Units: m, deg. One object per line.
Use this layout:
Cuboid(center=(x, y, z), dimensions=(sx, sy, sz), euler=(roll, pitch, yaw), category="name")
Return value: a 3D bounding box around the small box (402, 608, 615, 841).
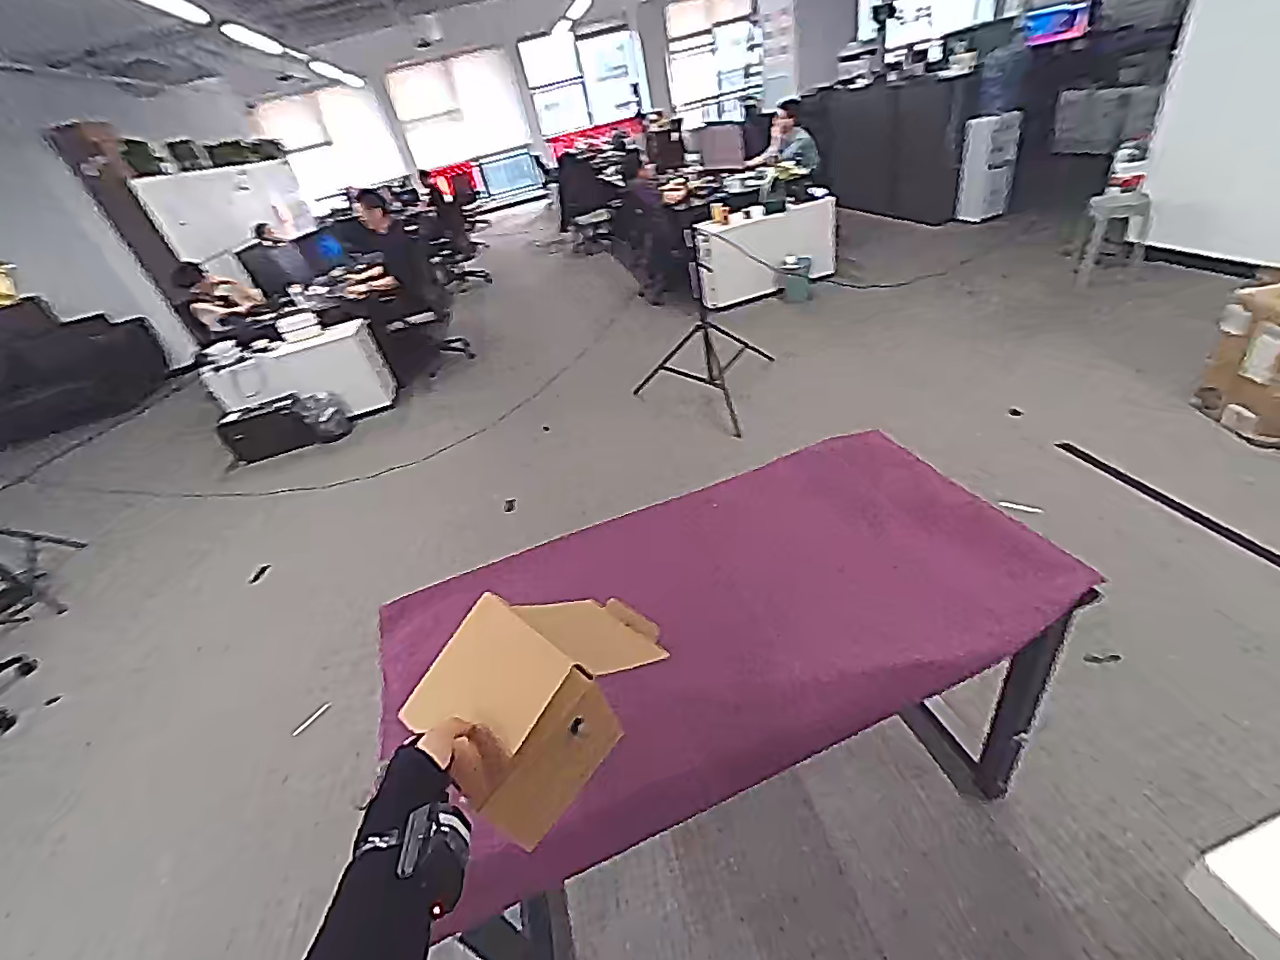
Cuboid(center=(-0.149, 0.303, 0.676), dimensions=(0.168, 0.176, 0.179), euler=(25, 58, 36), category="small box")
